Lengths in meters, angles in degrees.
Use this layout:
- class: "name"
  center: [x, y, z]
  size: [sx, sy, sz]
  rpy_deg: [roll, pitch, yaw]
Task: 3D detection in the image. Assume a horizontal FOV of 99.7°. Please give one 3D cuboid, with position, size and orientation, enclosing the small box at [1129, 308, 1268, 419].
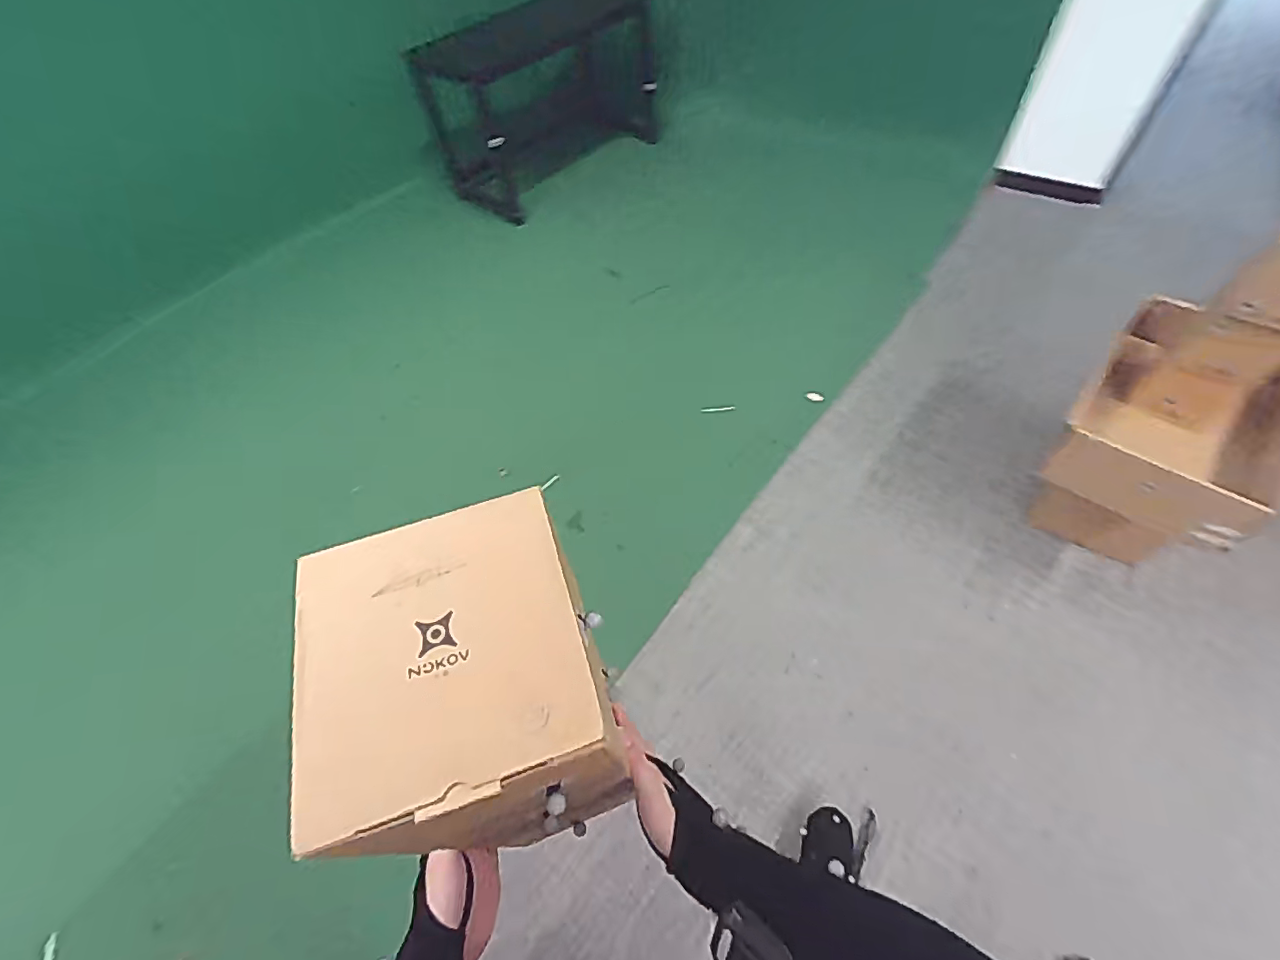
- class: "small box"
  center: [1.384, -0.289, 1.352]
  size: [0.168, 0.176, 0.179]
  rpy_deg: [33, 68, 25]

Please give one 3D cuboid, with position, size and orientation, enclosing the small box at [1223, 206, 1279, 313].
- class: "small box"
  center: [1.326, -0.447, 1.069]
  size: [0.168, 0.176, 0.179]
  rpy_deg: [31, 67, 25]
